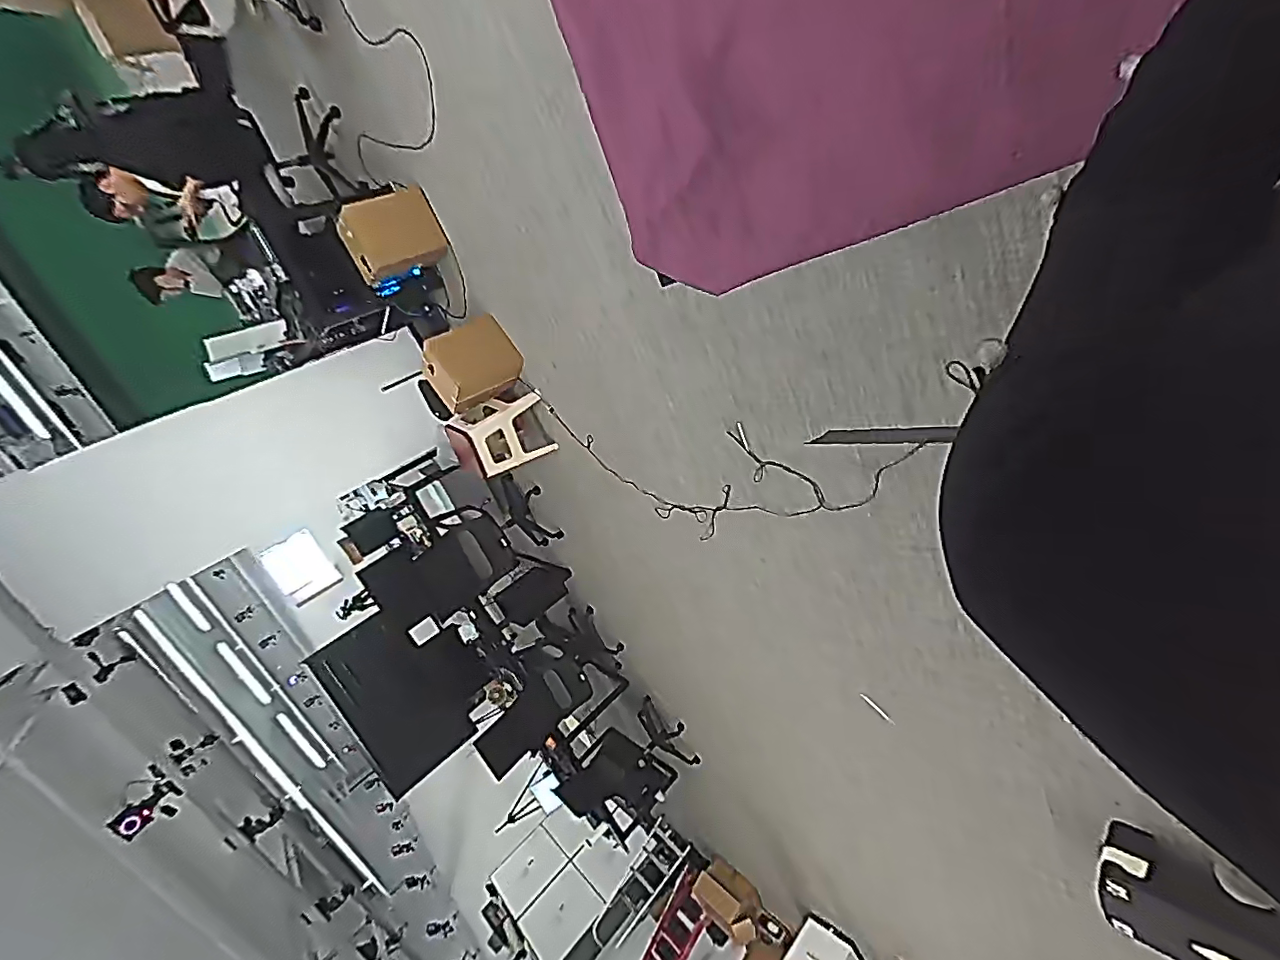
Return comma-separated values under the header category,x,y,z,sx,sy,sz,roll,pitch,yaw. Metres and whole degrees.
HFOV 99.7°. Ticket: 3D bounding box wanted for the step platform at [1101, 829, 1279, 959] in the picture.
category,x,y,z,sx,sy,sz,roll,pitch,yaw
step platform,1.705,1.286,1.471,0.684,0.204,0.286,3,123,52
